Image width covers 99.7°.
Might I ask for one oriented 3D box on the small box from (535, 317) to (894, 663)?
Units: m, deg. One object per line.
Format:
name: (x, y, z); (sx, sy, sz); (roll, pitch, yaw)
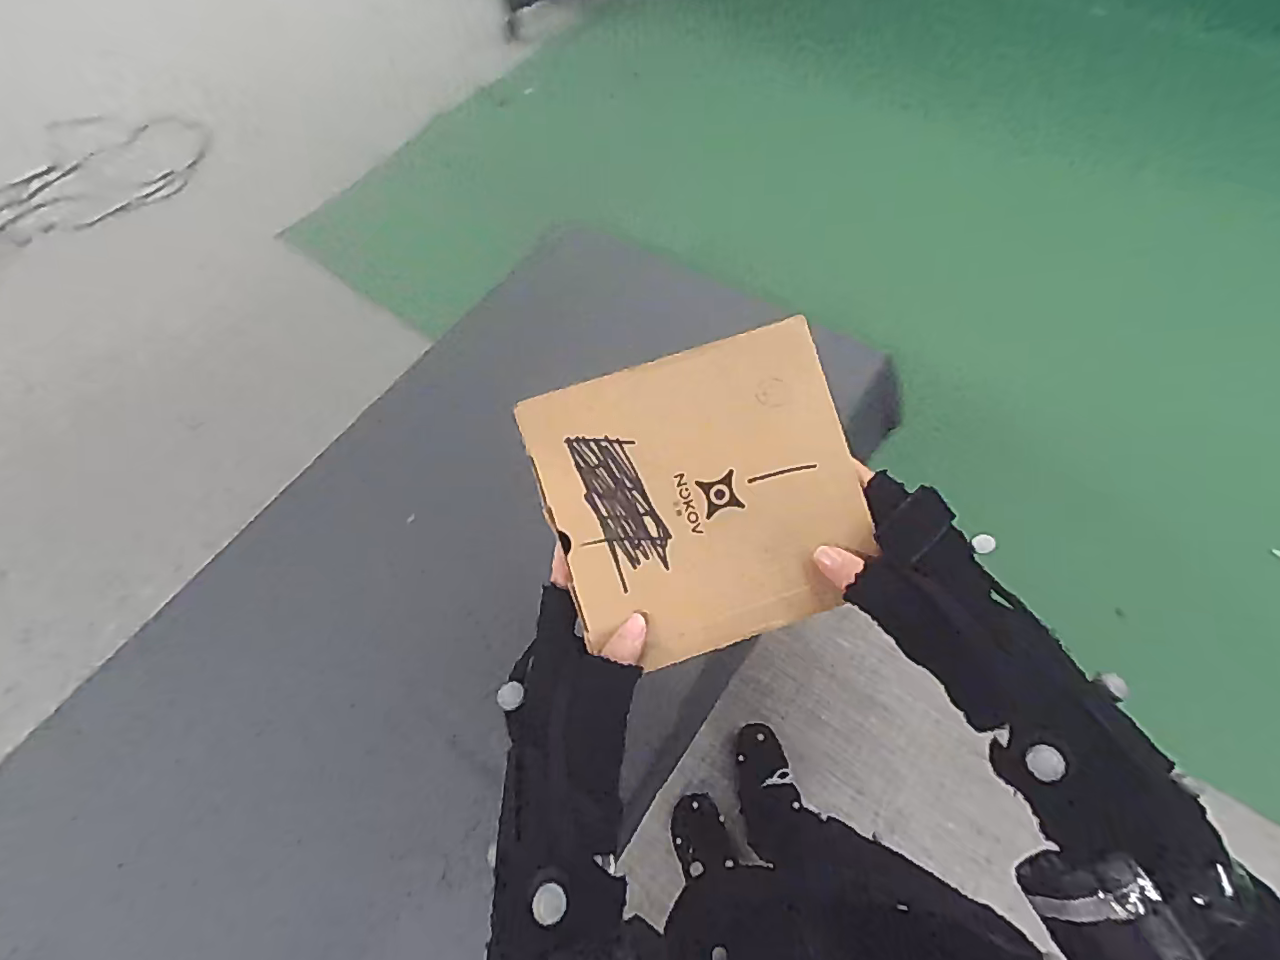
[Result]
small box: (0.041, 0.008, 0.390); (0.179, 0.176, 0.168); (-16, 89, -2)
